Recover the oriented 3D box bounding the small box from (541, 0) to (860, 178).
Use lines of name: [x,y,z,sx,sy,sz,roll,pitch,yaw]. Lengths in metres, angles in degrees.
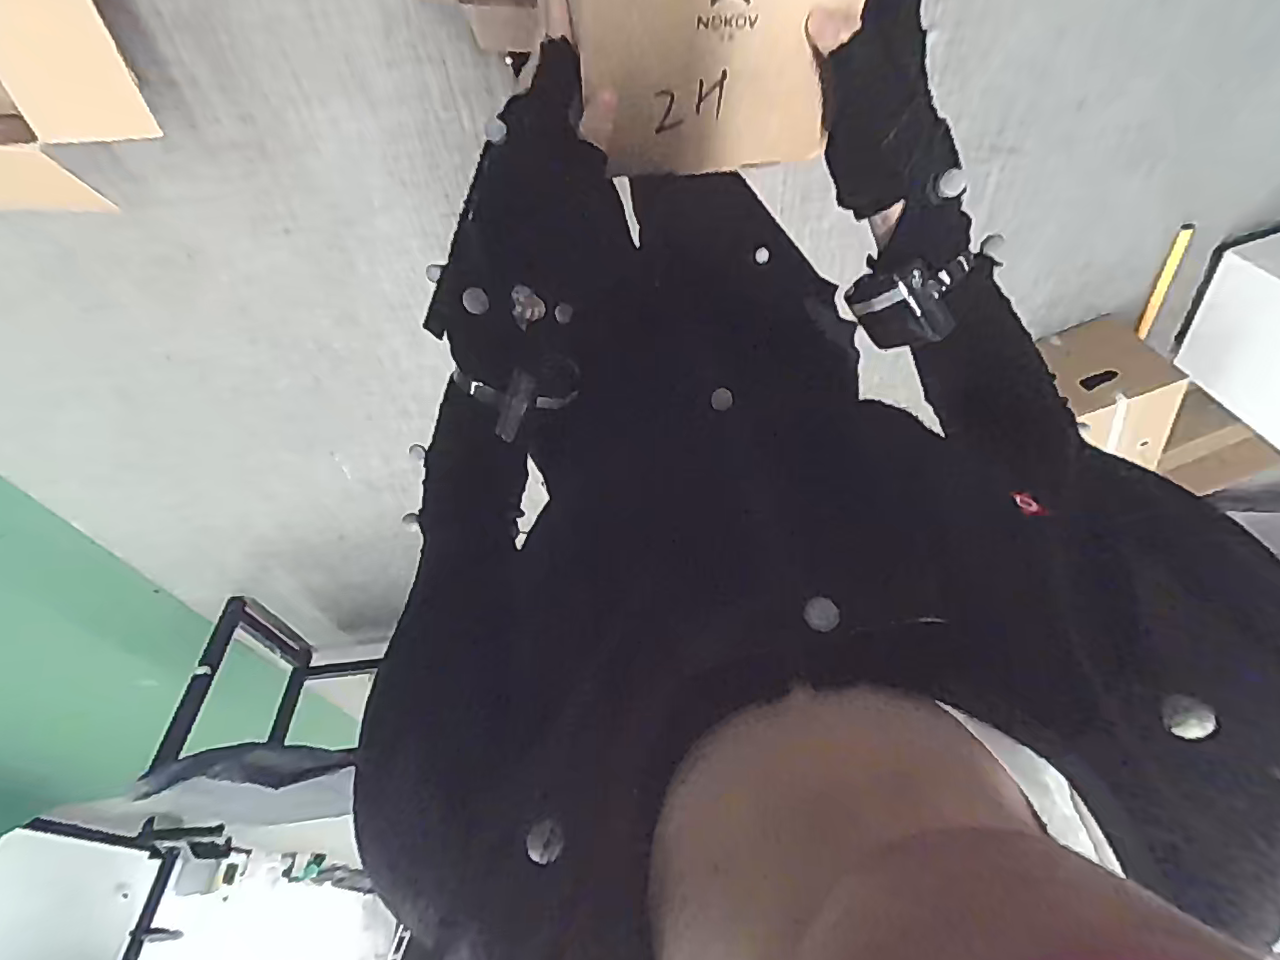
small box: [0.026,-0.320,0.341,0.168,0.176,0.179,-10,141,-10]
